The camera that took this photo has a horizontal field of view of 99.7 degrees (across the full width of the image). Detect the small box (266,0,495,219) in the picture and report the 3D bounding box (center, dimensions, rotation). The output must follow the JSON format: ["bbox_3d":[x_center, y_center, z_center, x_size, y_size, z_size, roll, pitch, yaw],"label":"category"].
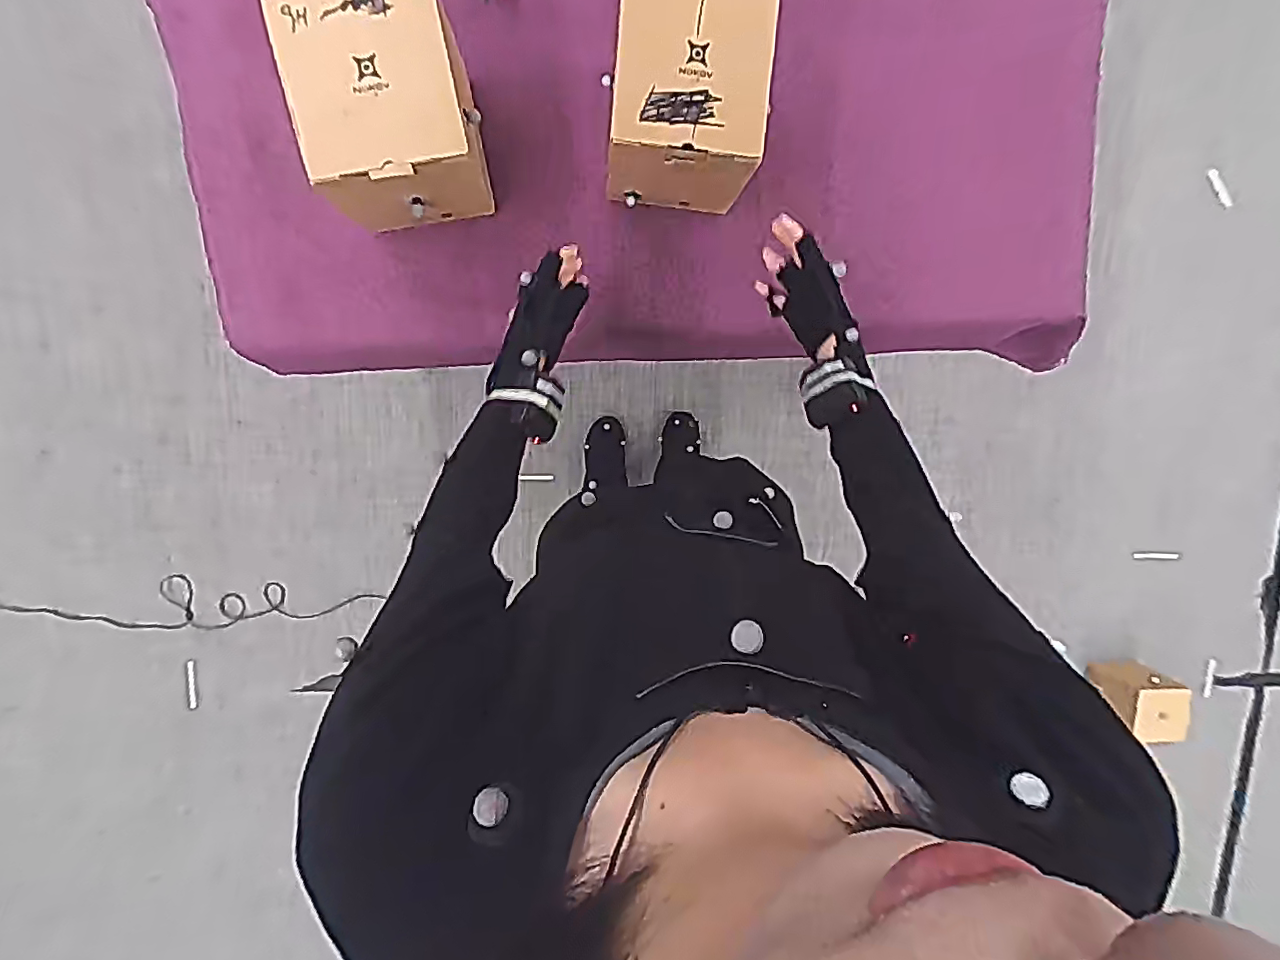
[{"bbox_3d":[-0.273,-0.414,0.613,0.168,0.176,0.179,-11,99,-4],"label":"small box"}]

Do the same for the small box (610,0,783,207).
[{"bbox_3d":[0.054,-0.447,0.639,0.168,0.176,0.179,5,96,-6],"label":"small box"}]

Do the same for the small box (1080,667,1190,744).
[{"bbox_3d":[1.520,0.689,1.667,0.179,0.176,0.168,1,97,-4],"label":"small box"}]
